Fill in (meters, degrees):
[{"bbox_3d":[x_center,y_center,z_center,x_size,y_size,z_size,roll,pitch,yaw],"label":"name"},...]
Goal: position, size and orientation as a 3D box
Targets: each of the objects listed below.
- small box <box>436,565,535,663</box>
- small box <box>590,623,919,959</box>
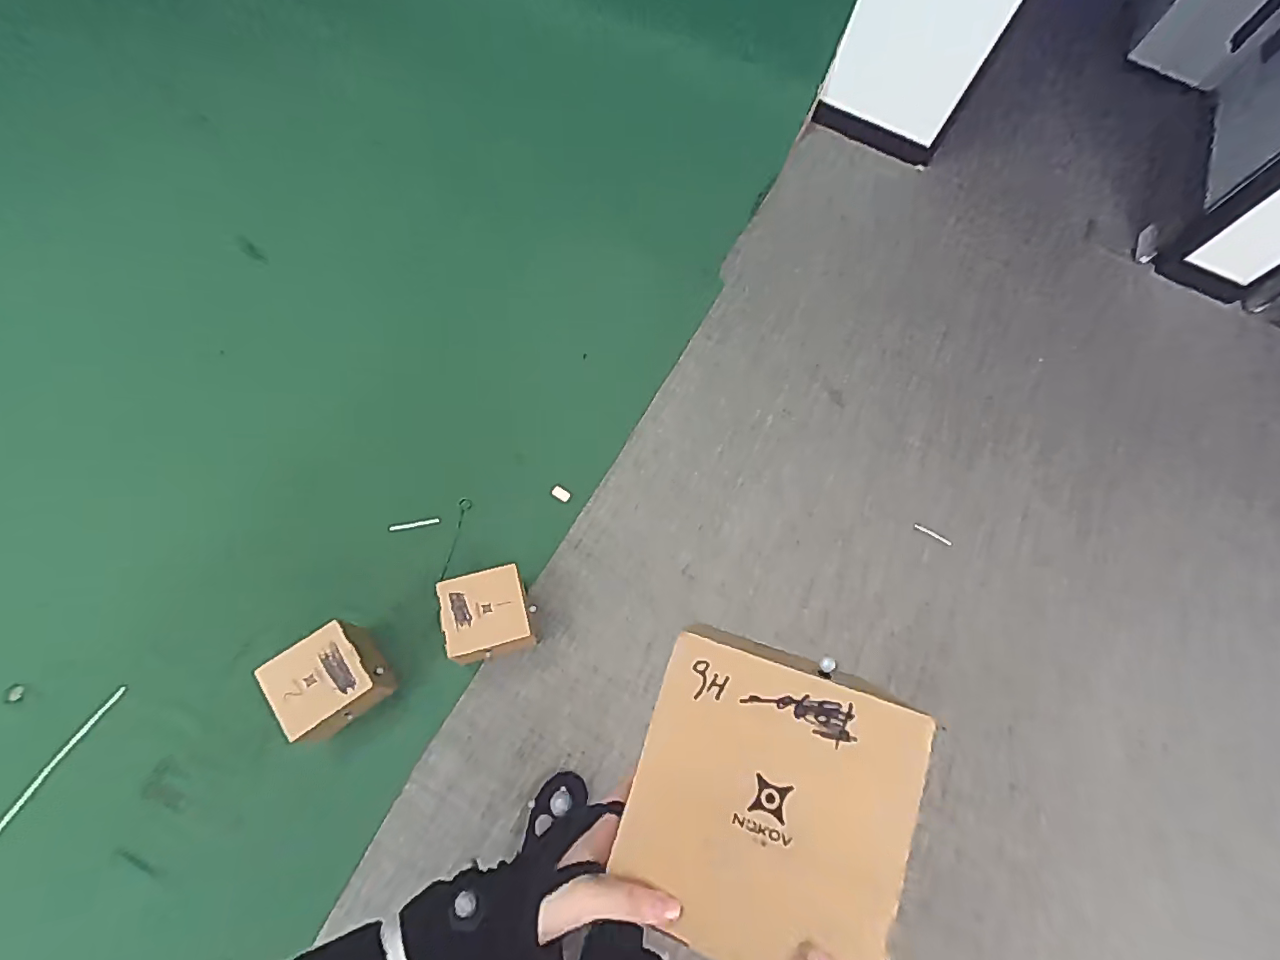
[{"bbox_3d":[-0.348,0.312,1.235,0.179,0.176,0.168,-13,70,-12],"label":"small box"},{"bbox_3d":[0.083,0.220,0.412,0.168,0.176,0.179,16,80,12],"label":"small box"}]
